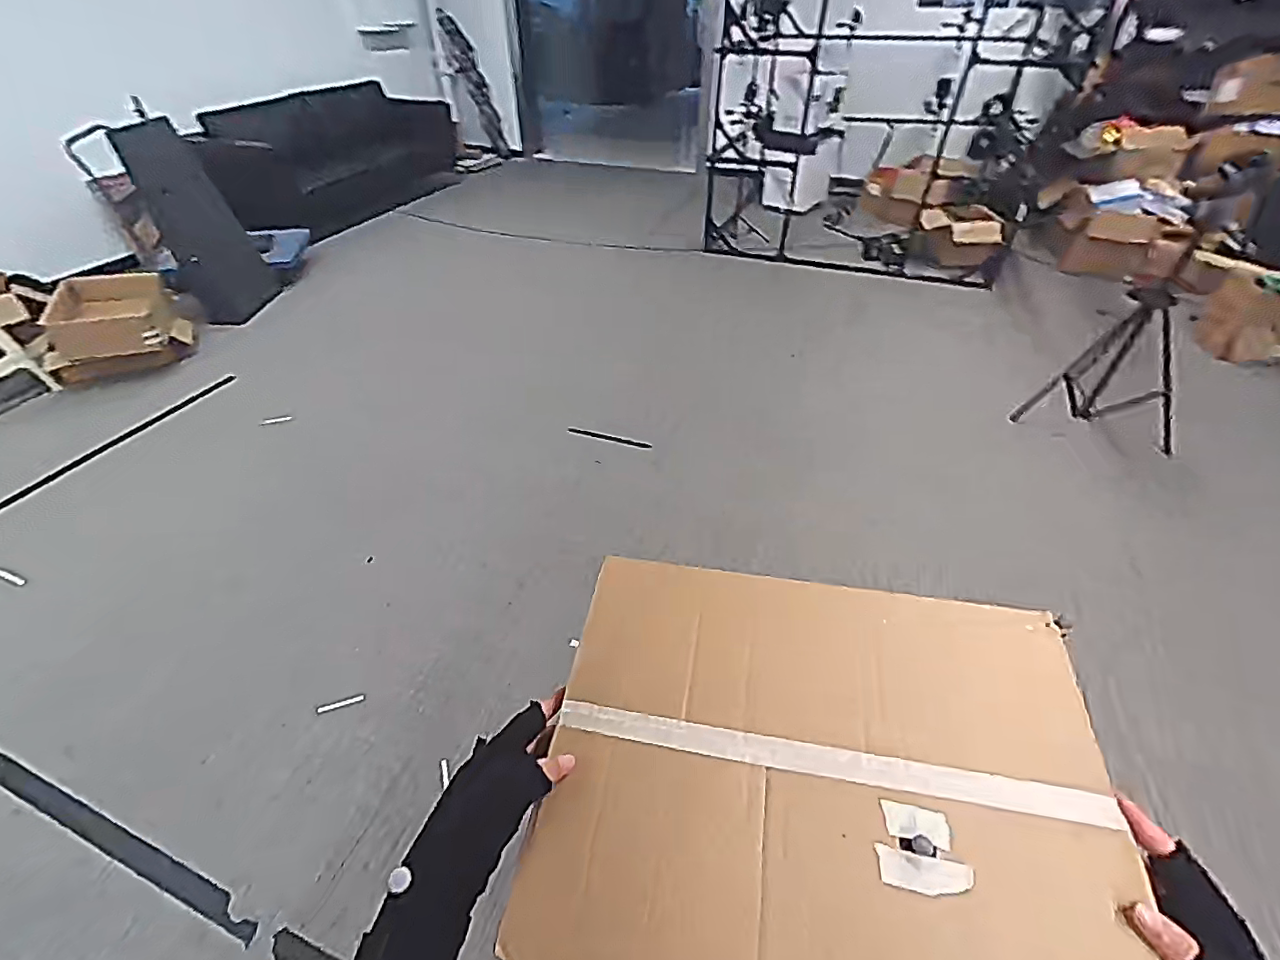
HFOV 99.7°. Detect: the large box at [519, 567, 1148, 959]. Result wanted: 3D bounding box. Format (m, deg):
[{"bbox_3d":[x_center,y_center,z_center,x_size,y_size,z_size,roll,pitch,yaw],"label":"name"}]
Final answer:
[{"bbox_3d":[0.147,0.318,0.534,0.408,0.320,0.320,6,49,11],"label":"large box"}]
